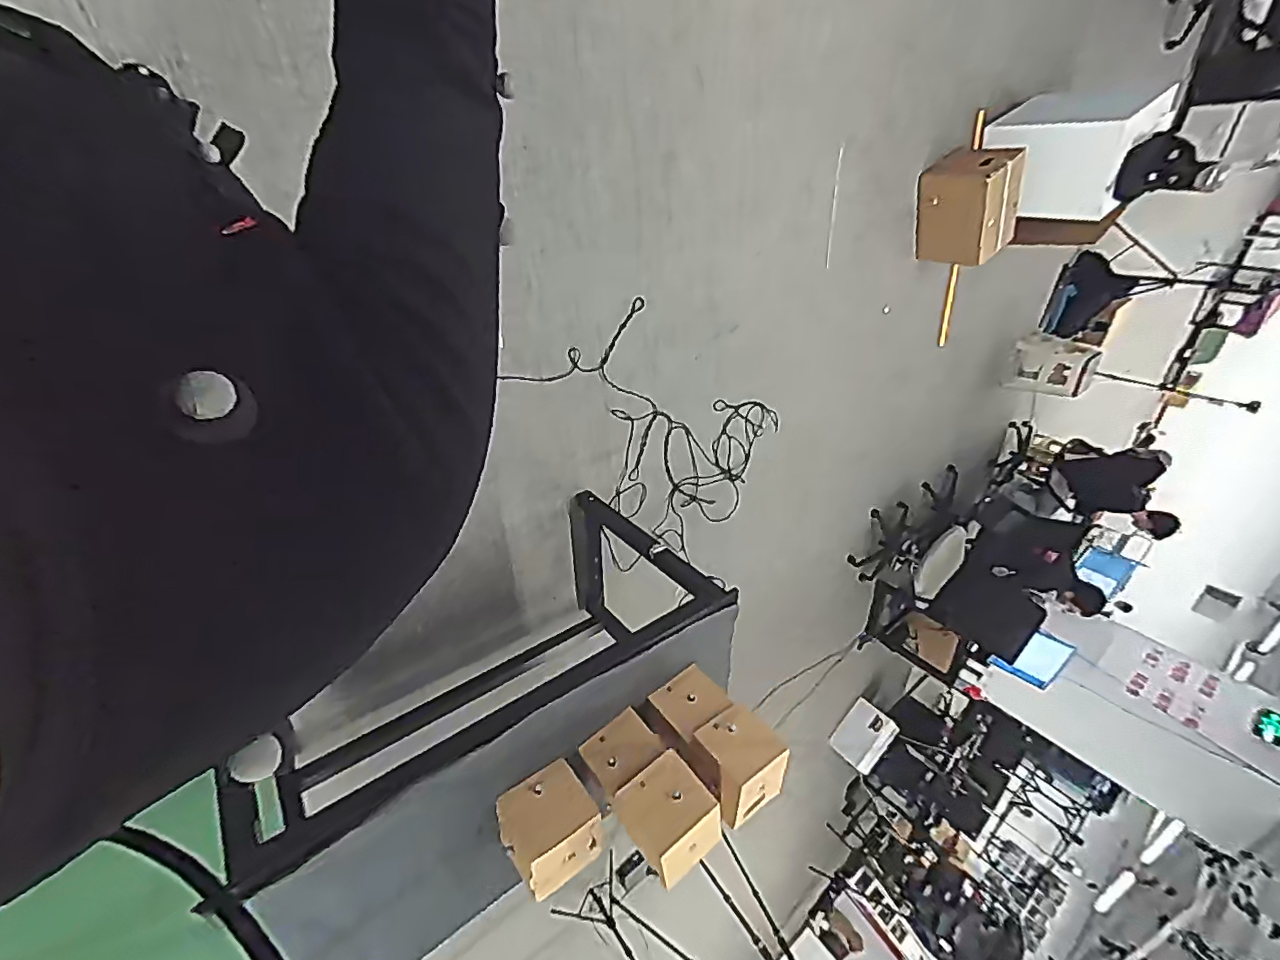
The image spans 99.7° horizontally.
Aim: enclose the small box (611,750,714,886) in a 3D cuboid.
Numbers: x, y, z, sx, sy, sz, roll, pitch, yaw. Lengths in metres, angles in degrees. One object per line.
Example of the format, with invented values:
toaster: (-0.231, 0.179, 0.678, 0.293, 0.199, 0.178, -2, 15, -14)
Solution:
small box: (0.049, 0.753, 1.224, 0.168, 0.176, 0.179, -28, 130, -26)
